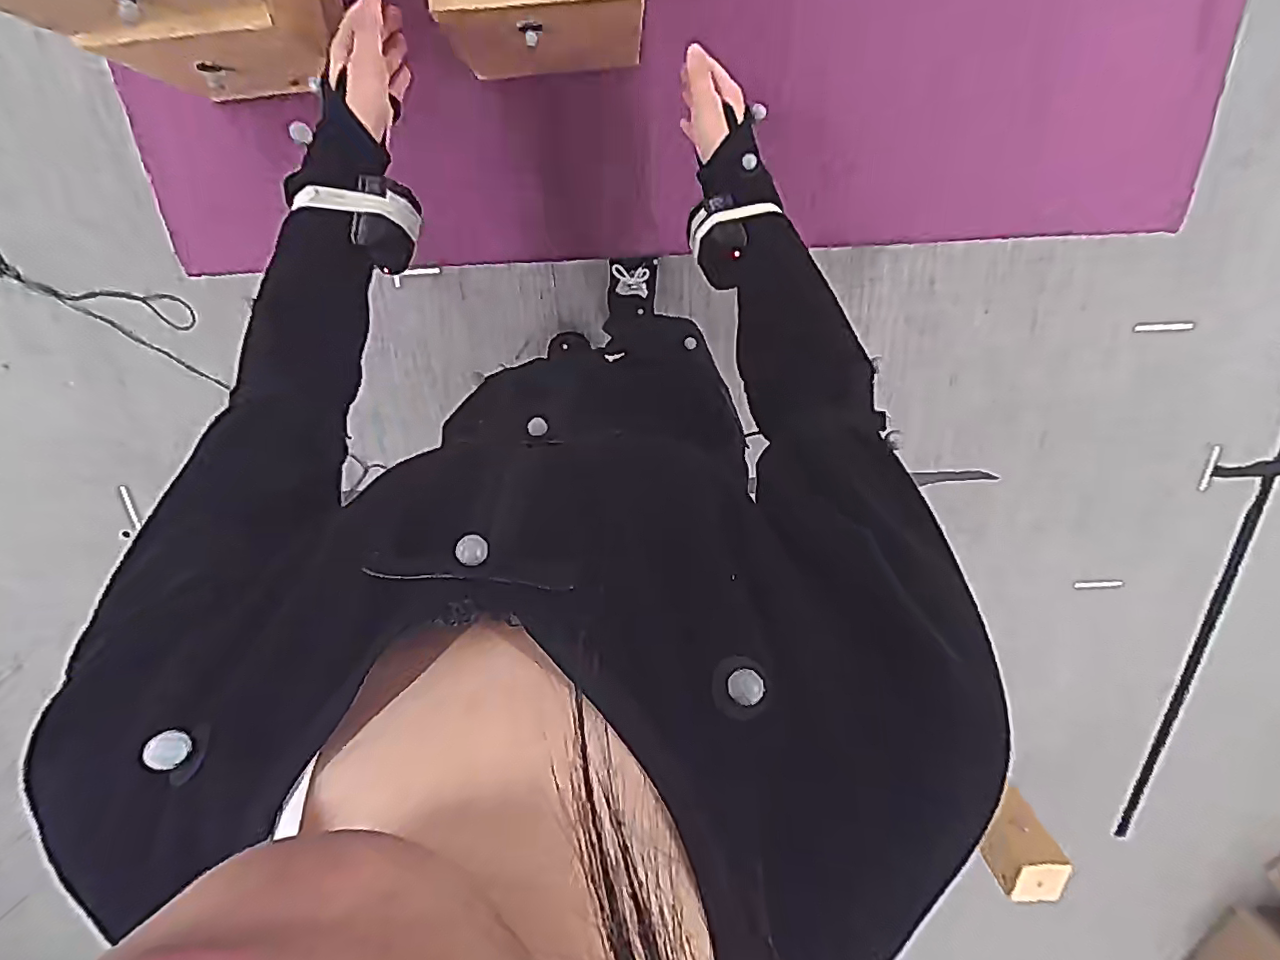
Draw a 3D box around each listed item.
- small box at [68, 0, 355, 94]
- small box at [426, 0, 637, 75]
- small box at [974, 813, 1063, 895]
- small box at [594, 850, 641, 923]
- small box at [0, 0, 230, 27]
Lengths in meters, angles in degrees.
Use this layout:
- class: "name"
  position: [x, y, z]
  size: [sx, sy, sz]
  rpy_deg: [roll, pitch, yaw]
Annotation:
- class: "small box"
  position: [-0.387, -0.468, 0.480]
  size: [0.168, 0.176, 0.179]
  rpy_deg: [-6, 111, 1]
- class: "small box"
  position: [-0.093, -0.488, 0.481]
  size: [0.179, 0.176, 0.168]
  rpy_deg: [-5, 112, -1]
- class: "small box"
  position: [1.283, 1.279, 1.851]
  size: [0.168, 0.176, 0.179]
  rpy_deg: [1, 111, -3]
- class: "small box"
  position: [-0.086, 1.576, 2.105]
  size: [0.168, 0.176, 0.179]
  rpy_deg: [-5, 113, 1]
- class: "small box"
  position: [-0.388, -0.414, 0.325]
  size: [0.179, 0.176, 0.168]
  rpy_deg: [-8, 111, 1]
